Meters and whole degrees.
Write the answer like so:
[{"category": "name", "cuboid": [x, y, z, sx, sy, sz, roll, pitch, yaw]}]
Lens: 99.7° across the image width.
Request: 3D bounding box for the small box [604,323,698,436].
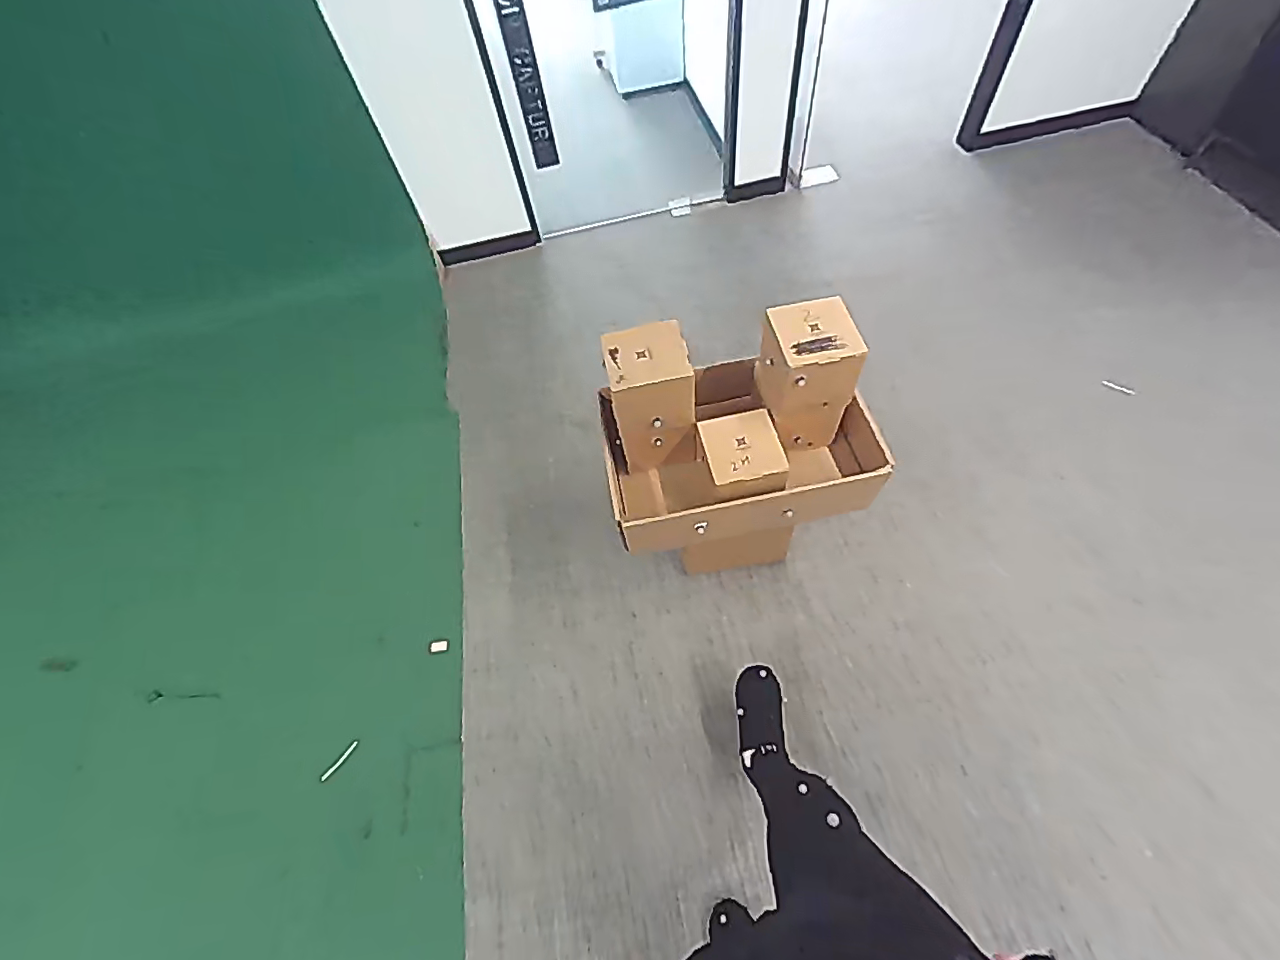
[{"category": "small box", "cuboid": [0.025, -0.218, 1.202, 0.179, 0.176, 0.168, -11, 59, -1]}]
